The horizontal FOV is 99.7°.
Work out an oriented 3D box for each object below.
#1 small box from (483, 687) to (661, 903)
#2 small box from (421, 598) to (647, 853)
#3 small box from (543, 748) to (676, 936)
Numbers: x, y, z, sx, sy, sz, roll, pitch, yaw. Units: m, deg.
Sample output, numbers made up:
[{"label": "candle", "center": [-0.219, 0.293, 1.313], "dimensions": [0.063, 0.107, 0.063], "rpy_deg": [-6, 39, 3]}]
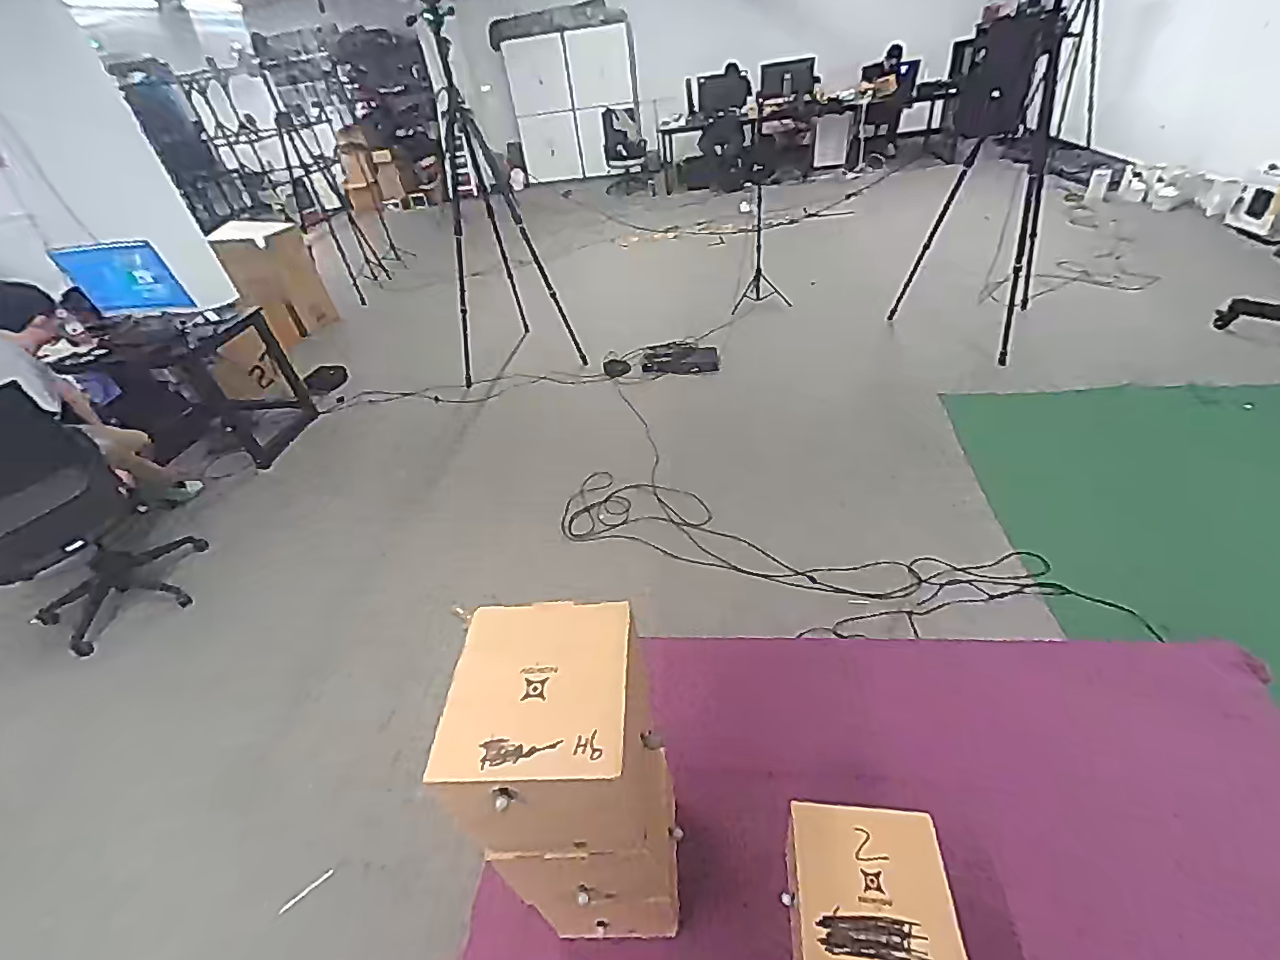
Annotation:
[{"label": "small box", "center": [-0.066, 0.369, 0.642], "dimensions": [0.168, 0.176, 0.179], "rpy_deg": [-6, 39, 5]}, {"label": "small box", "center": [-0.085, 0.241, 0.541], "dimensions": [0.168, 0.176, 0.179], "rpy_deg": [-4, 38, 6]}, {"label": "small box", "center": [-0.039, 0.496, 0.744], "dimensions": [0.168, 0.176, 0.179], "rpy_deg": [-5, 39, 5]}]
